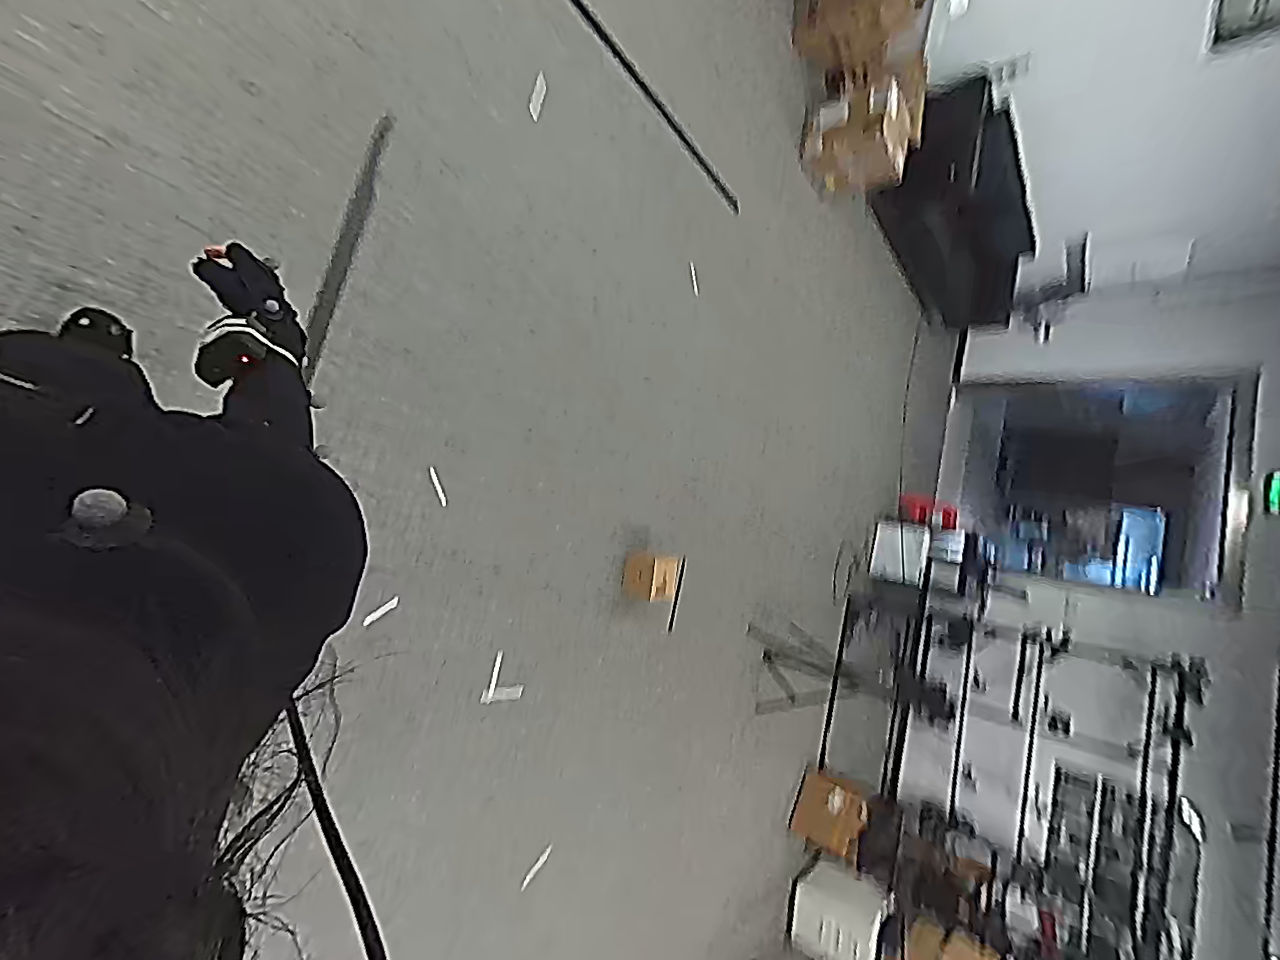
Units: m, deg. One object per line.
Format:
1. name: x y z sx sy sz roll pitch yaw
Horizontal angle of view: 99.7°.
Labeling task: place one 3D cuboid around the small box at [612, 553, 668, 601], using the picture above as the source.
1. small box: -0.003 0.420 2.365 0.168 0.176 0.179 10 87 -50
